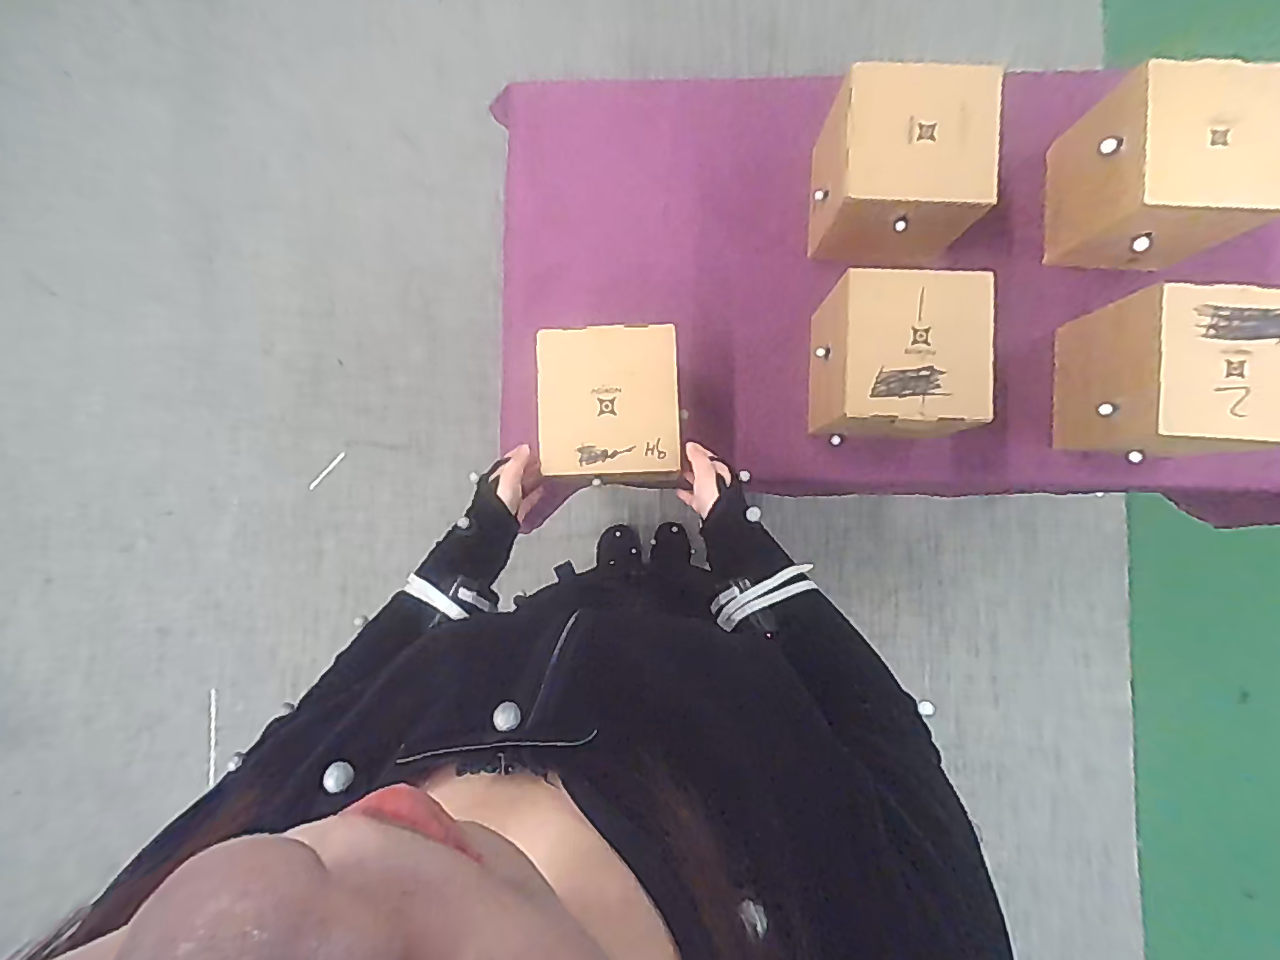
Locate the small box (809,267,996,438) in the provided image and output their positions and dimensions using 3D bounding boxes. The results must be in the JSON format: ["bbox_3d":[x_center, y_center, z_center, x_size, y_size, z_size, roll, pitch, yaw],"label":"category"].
[{"bbox_3d":[0.321,-0.151,0.693,0.168,0.176,0.179,3,86,3],"label":"small box"}]

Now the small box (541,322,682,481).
[{"bbox_3d":[-0.032,-0.092,0.709,0.168,0.176,0.179,-2,87,3],"label":"small box"}]

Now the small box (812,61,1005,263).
[{"bbox_3d":[0.334,-0.400,0.706,0.179,0.176,0.168,4,88,3],"label":"small box"}]

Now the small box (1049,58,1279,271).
[{"bbox_3d":[0.661,-0.385,0.687,0.168,0.176,0.179,5,87,4],"label":"small box"}]
